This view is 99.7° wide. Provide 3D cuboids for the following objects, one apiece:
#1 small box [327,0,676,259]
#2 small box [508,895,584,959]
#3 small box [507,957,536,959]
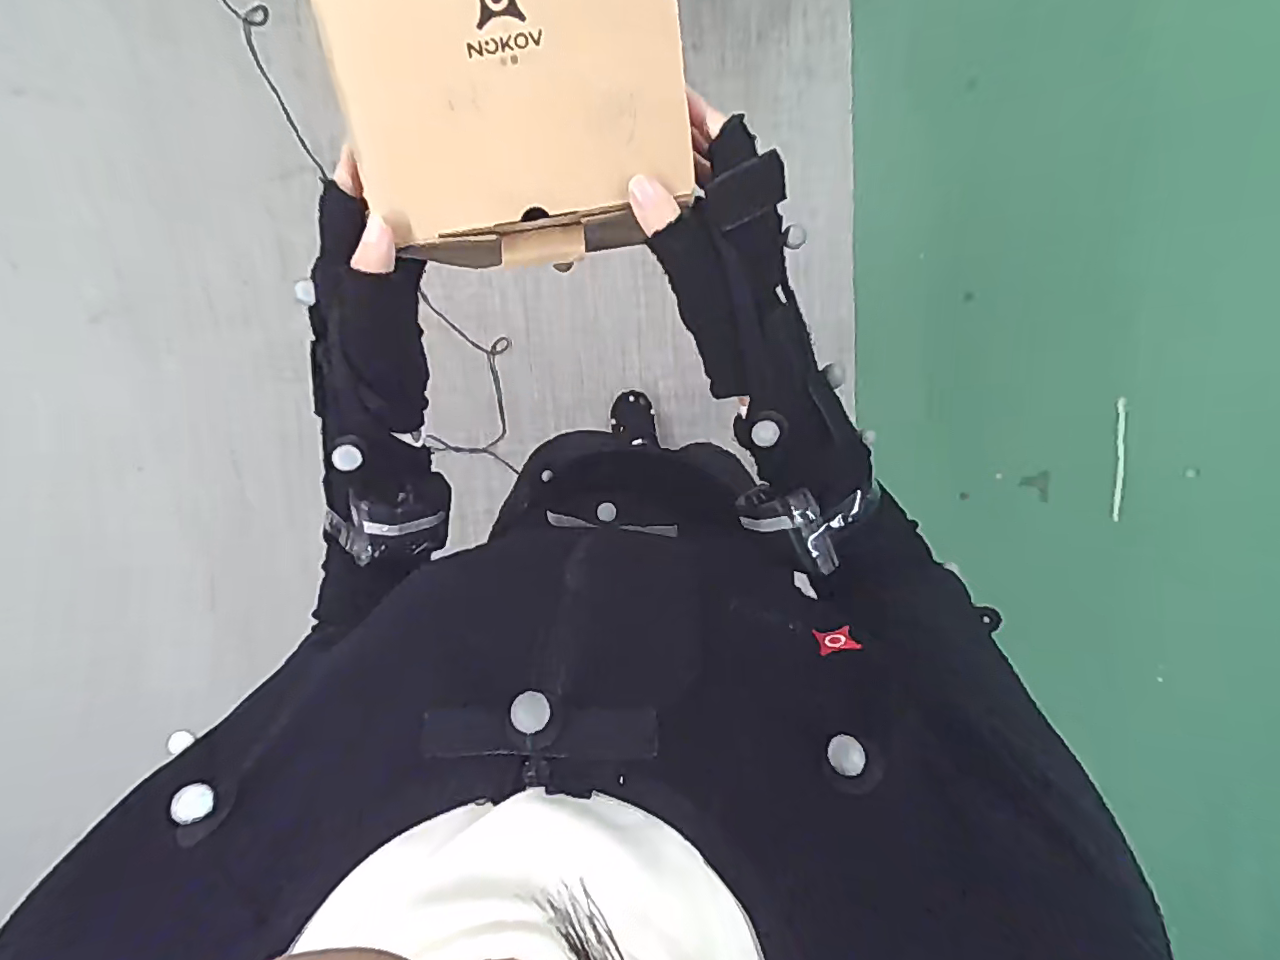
[{"bbox_3d":[-0.070,-0.249,0.350,0.168,0.176,0.179,-9,107,4],"label":"small box"},{"bbox_3d":[-0.248,1.257,1.451,0.179,0.176,0.168,0,97,-1],"label":"small box"},{"bbox_3d":[-0.259,1.280,1.275,0.168,0.176,0.179,2,97,2],"label":"small box"}]
